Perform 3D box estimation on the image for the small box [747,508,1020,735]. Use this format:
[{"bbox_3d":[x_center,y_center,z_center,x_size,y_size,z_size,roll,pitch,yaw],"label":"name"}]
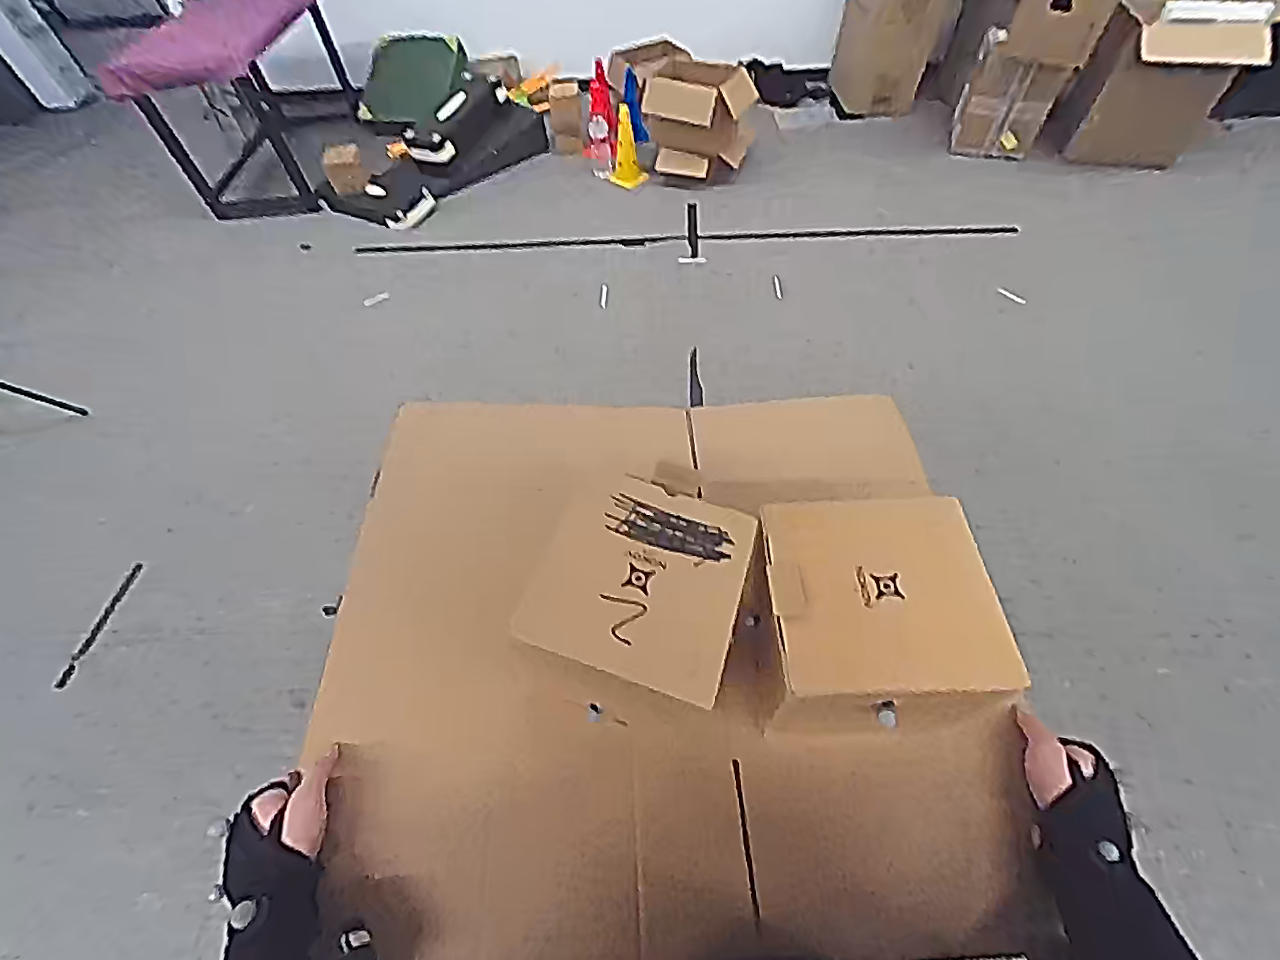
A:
[{"bbox_3d":[0.205,0.141,0.519,0.179,0.176,0.168,-3,55,3],"label":"small box"}]
